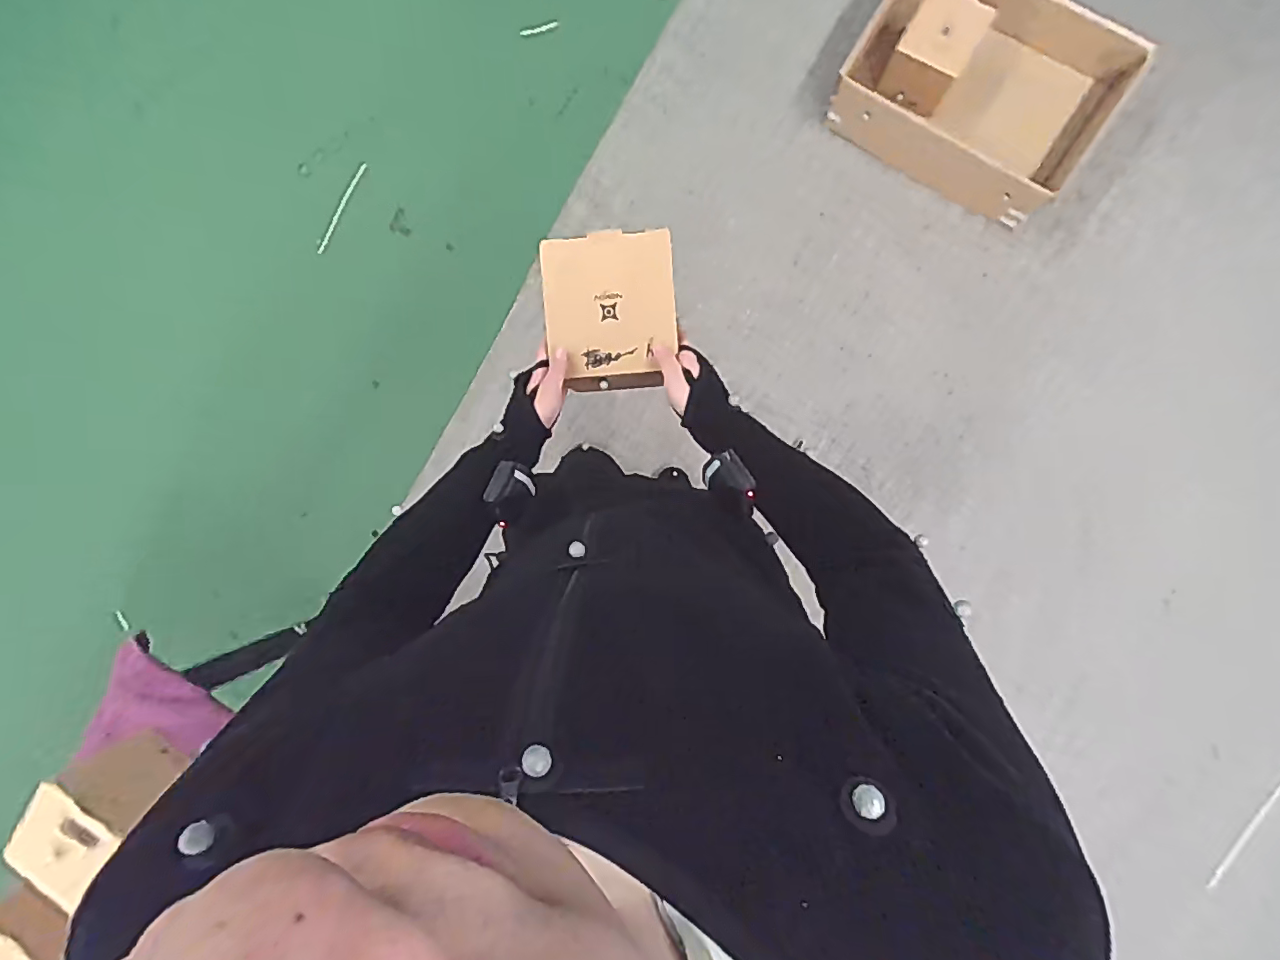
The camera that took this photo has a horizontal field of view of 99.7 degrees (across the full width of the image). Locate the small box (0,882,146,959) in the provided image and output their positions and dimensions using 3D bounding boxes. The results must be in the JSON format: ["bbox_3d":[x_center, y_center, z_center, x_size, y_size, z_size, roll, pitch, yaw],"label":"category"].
[{"bbox_3d":[-1.068,0.844,0.982,0.168,0.176,0.179,31,95,4],"label":"small box"}]

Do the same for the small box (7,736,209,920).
[{"bbox_3d":[-0.918,0.596,0.952,0.168,0.176,0.179,34,98,4],"label":"small box"}]

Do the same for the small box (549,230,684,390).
[{"bbox_3d":[-0.026,-0.224,0.753,0.168,0.176,0.179,-3,95,4],"label":"small box"}]
